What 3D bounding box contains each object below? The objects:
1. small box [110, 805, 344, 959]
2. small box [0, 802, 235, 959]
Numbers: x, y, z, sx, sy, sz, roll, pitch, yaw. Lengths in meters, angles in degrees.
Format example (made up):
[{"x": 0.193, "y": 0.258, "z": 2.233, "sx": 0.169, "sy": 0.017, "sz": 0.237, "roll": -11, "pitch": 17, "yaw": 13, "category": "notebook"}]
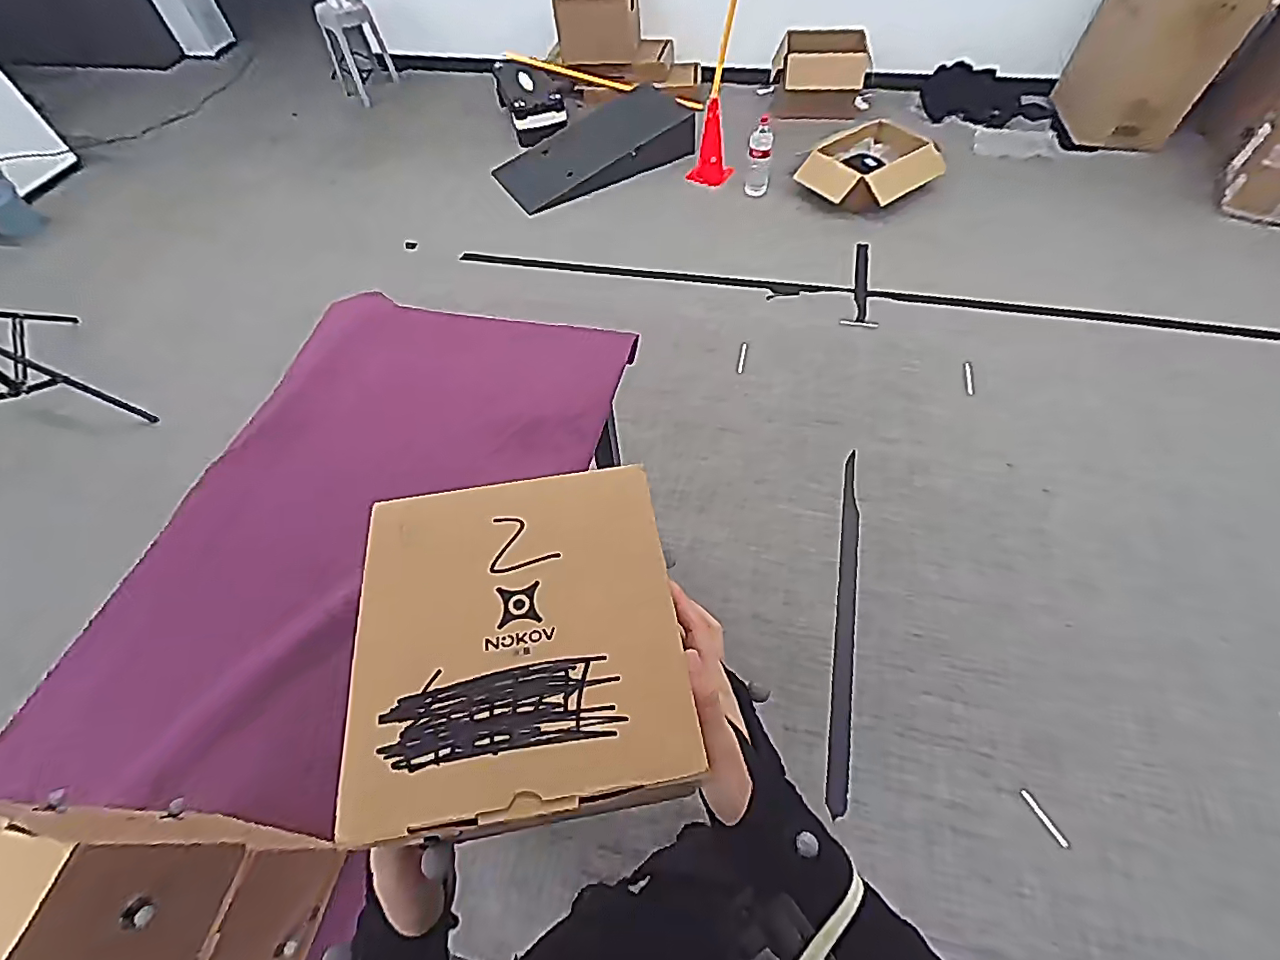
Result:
[{"x": -0.440, "y": 0.434, "z": 0.528, "sx": 0.179, "sy": 0.176, "sz": 0.168, "roll": 7, "pitch": 58, "yaw": 8, "category": "small box"}, {"x": -0.451, "y": 0.346, "z": 0.393, "sx": 0.168, "sy": 0.176, "sz": 0.179, "roll": 5, "pitch": 58, "yaw": 9, "category": "small box"}]
